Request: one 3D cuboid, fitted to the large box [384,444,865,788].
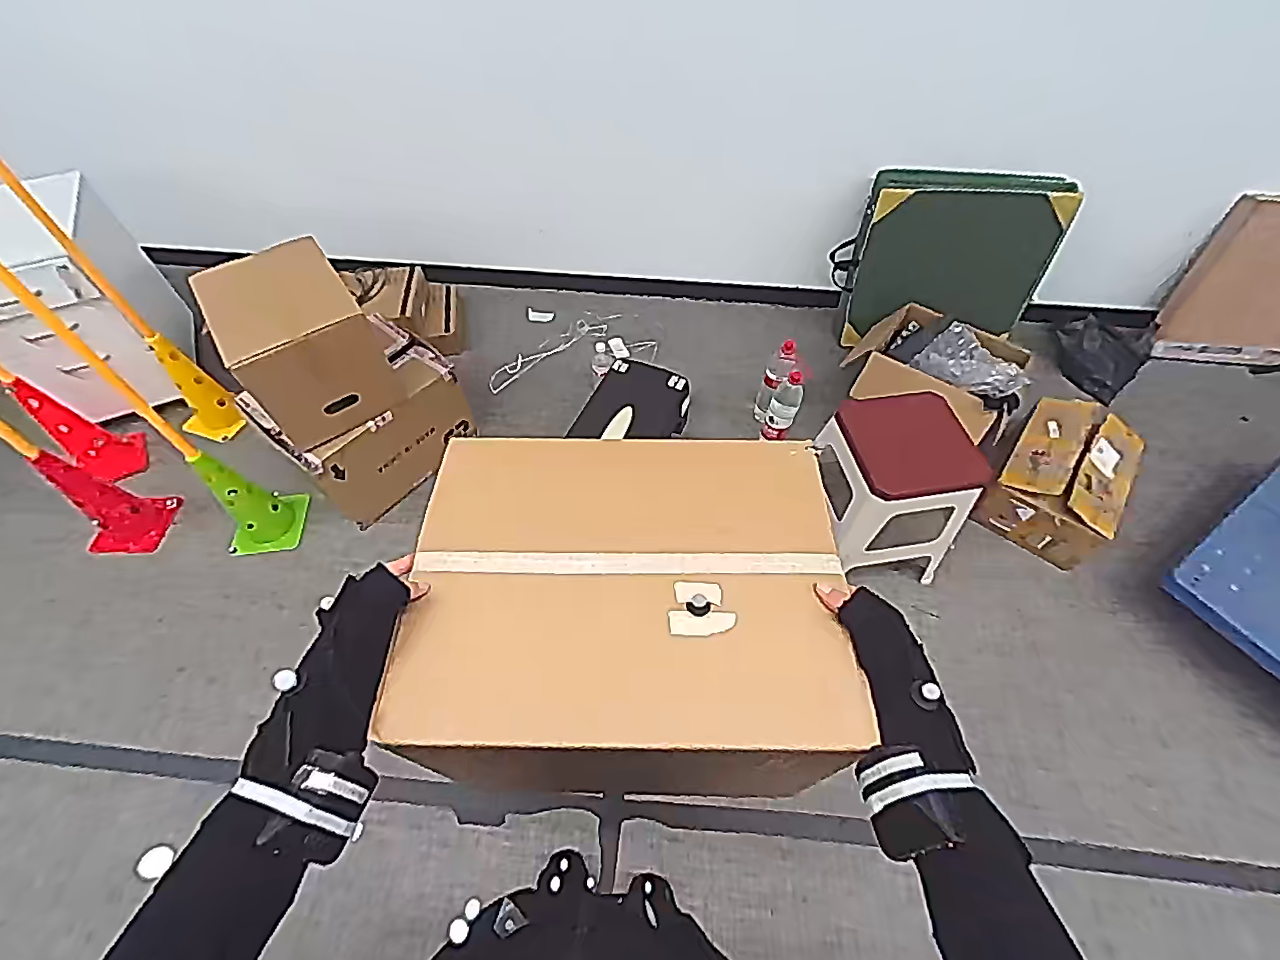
[{"bbox_3d":[-0.013,0.171,0.646,0.408,0.320,0.320,1,54,1],"label":"large box"}]
